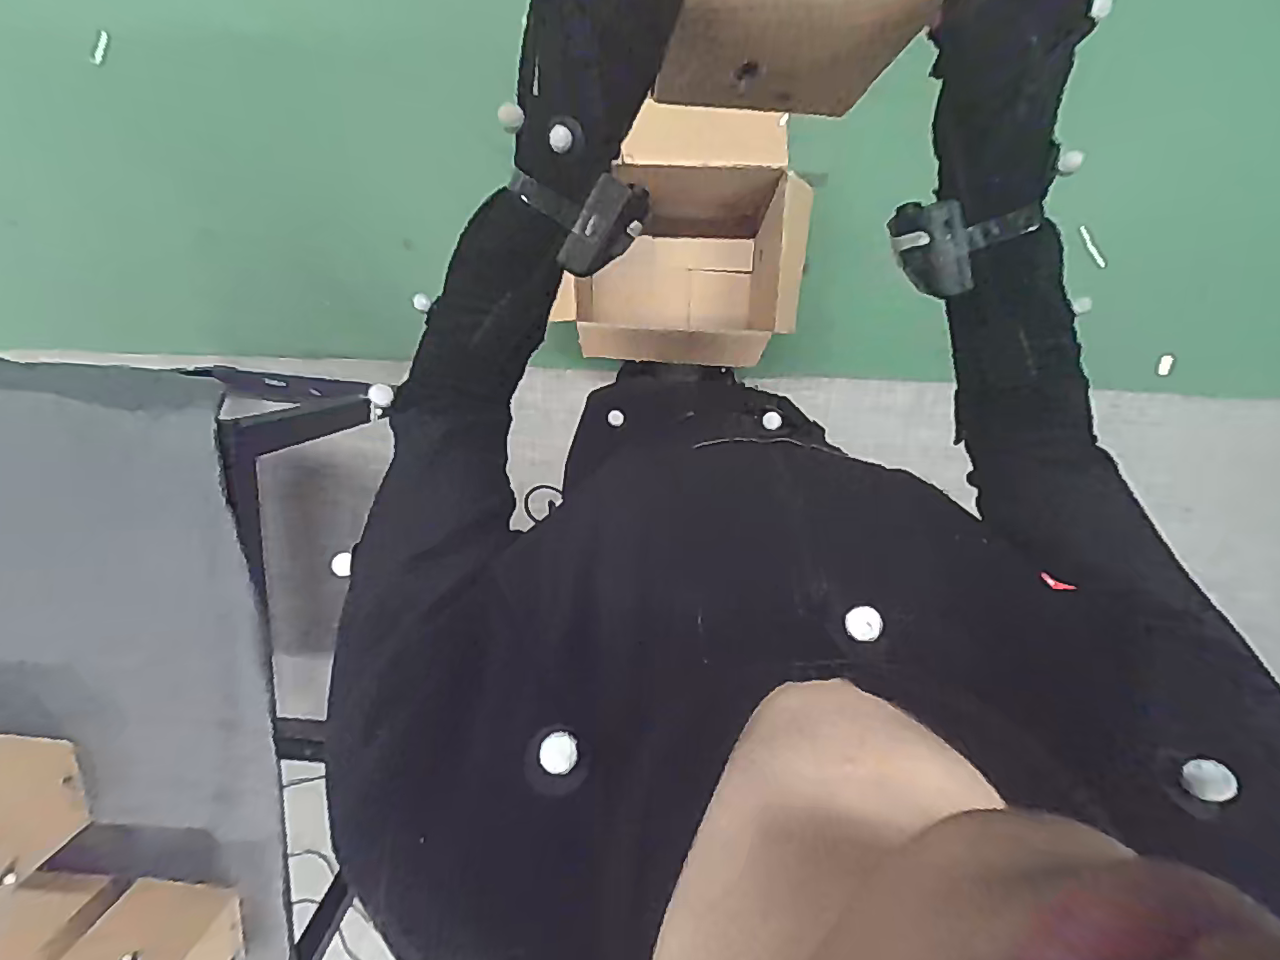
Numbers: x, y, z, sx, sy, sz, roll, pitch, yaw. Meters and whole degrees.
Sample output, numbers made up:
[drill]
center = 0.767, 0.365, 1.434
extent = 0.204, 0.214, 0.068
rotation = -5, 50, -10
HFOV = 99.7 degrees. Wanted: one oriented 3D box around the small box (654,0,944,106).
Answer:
[small box]
center = 0.099, -0.380, 0.347
extent = 0.168, 0.176, 0.179
rotation = 2, 104, -3
